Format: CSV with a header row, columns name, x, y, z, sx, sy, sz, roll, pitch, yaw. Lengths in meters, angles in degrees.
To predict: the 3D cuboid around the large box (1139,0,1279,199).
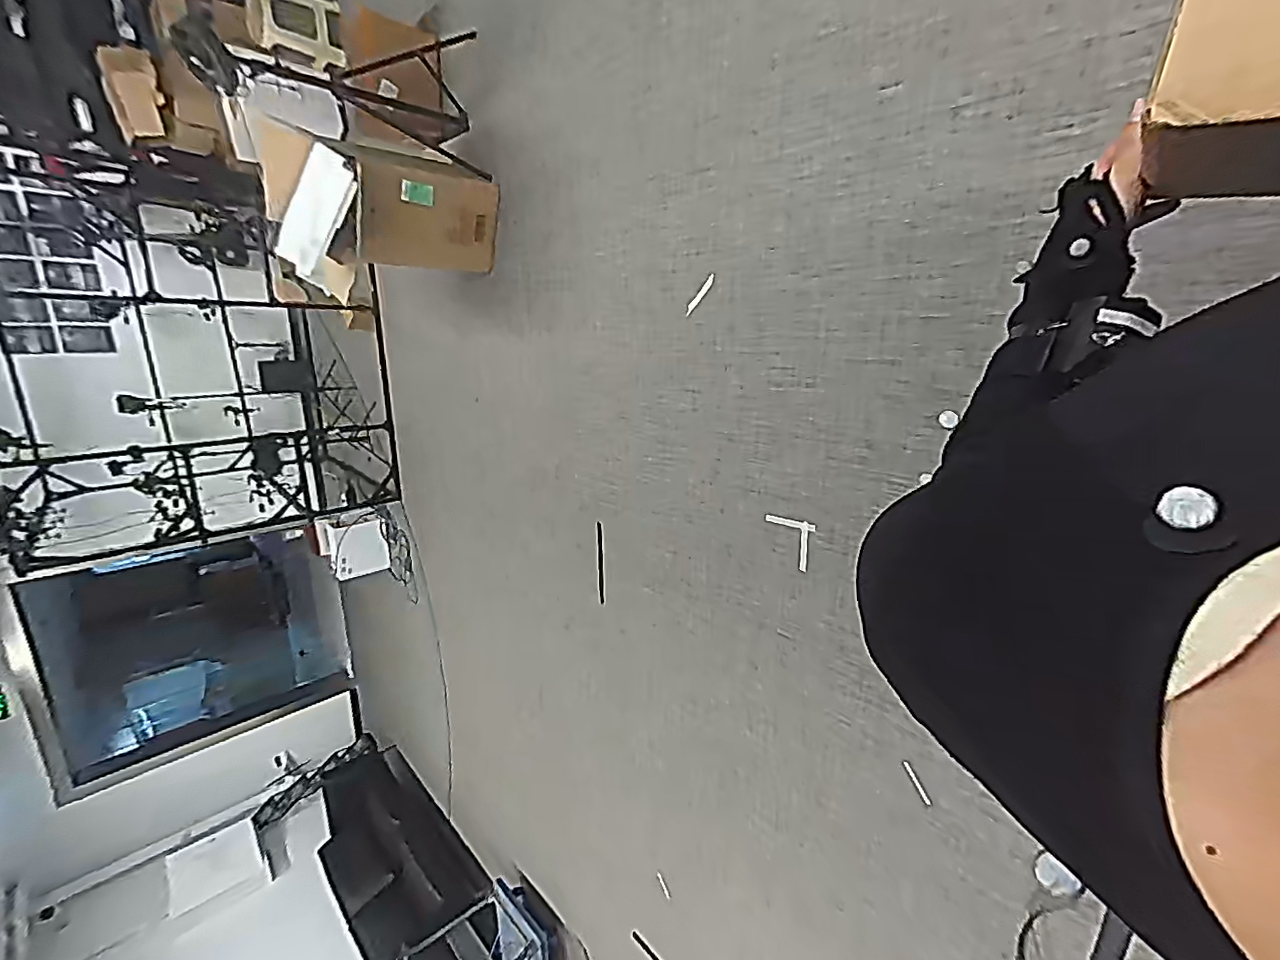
name,x,y,z,sx,sy,sz,roll,pitch,yaw
large box,0.470,-0.290,0.171,0.408,0.320,0.320,18,118,36
